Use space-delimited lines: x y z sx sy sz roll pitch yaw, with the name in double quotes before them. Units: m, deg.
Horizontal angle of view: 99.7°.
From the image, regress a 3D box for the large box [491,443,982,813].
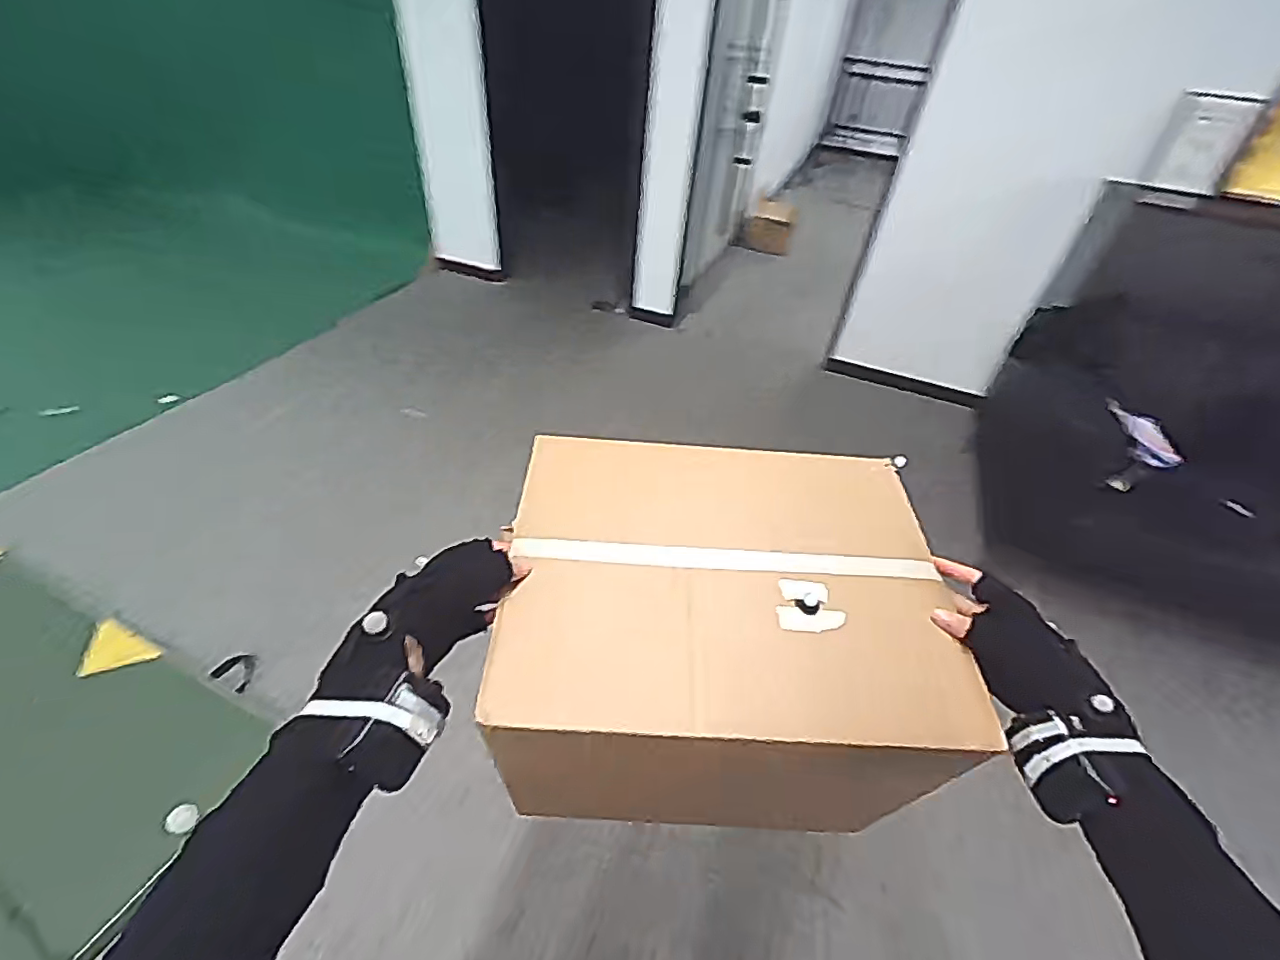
"large box" 0.067 0.179 0.631 0.408 0.320 0.320 3 48 -3
